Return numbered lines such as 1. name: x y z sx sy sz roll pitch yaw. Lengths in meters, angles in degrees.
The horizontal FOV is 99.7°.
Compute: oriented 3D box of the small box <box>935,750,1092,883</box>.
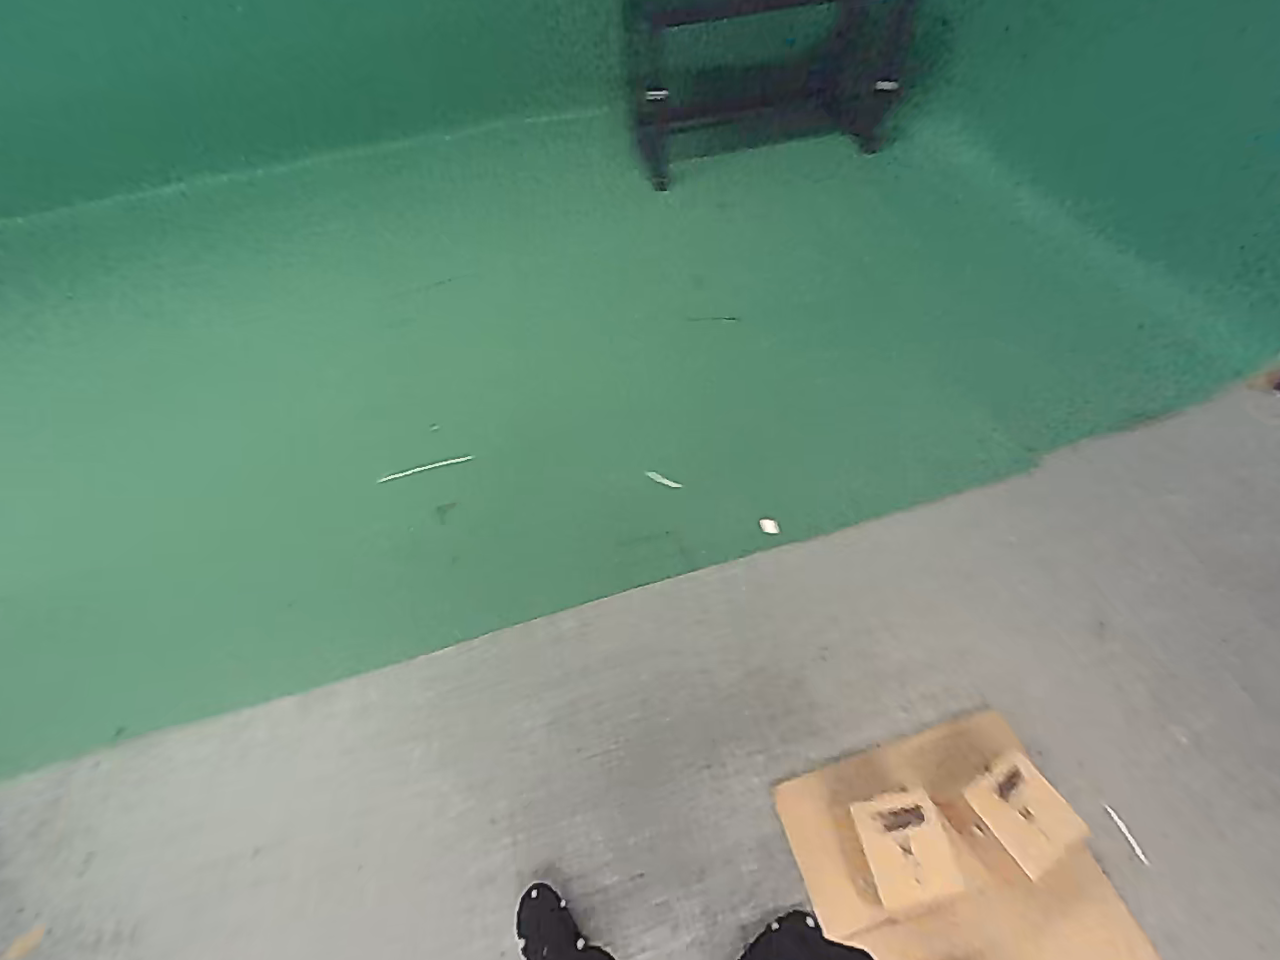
1. small box: 0.768 0.705 1.137 0.168 0.176 0.179 -27 60 -14
